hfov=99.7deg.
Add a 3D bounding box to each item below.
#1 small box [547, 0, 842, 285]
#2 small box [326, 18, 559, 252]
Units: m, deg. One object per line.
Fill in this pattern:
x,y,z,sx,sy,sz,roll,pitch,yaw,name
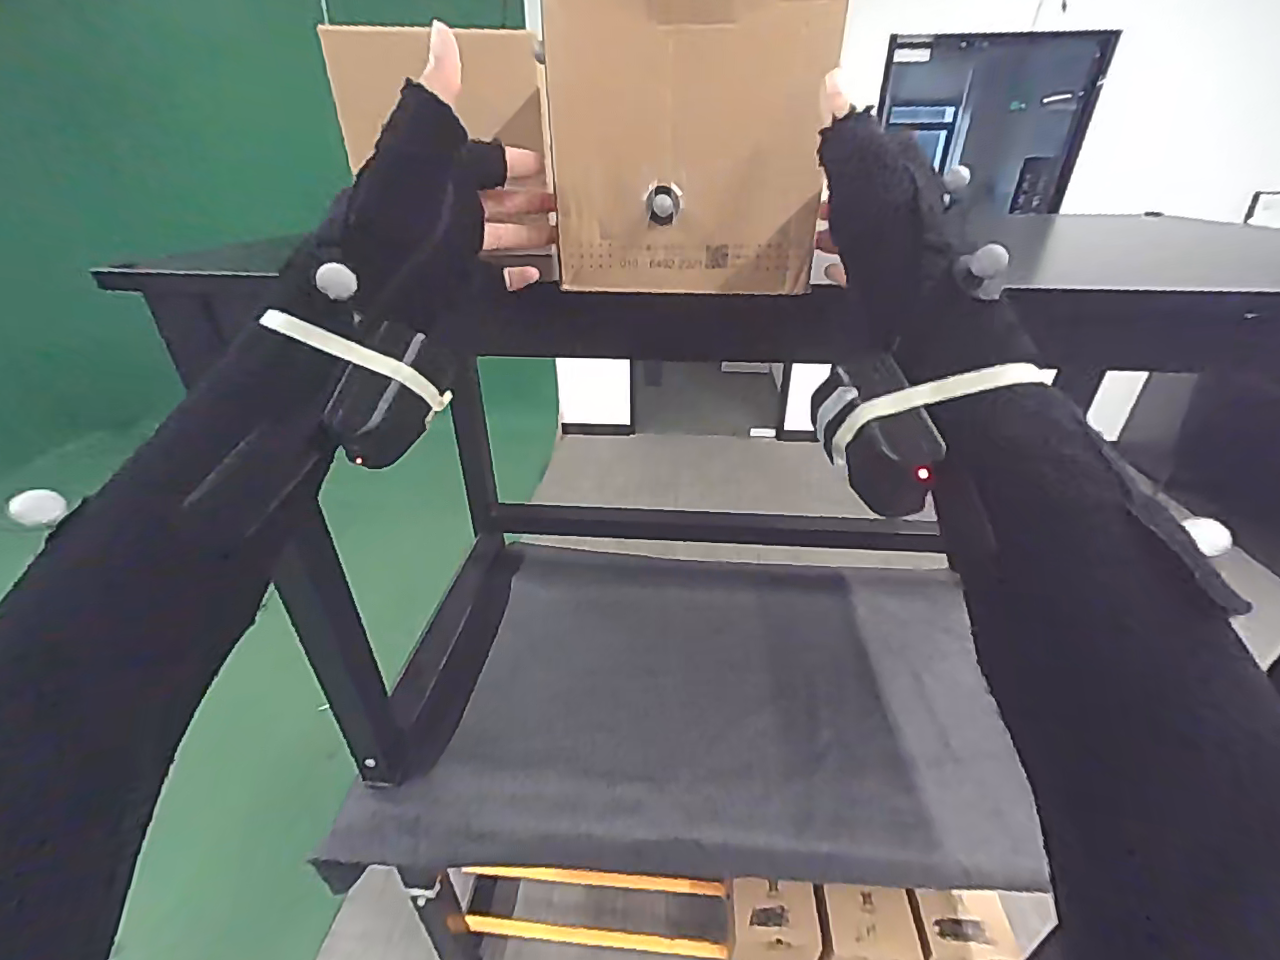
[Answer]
0.033,-0.248,0.397,0.168,0.176,0.179,2,31,4,small box
-0.171,-0.327,0.534,0.168,0.176,0.179,-4,31,-5,small box
